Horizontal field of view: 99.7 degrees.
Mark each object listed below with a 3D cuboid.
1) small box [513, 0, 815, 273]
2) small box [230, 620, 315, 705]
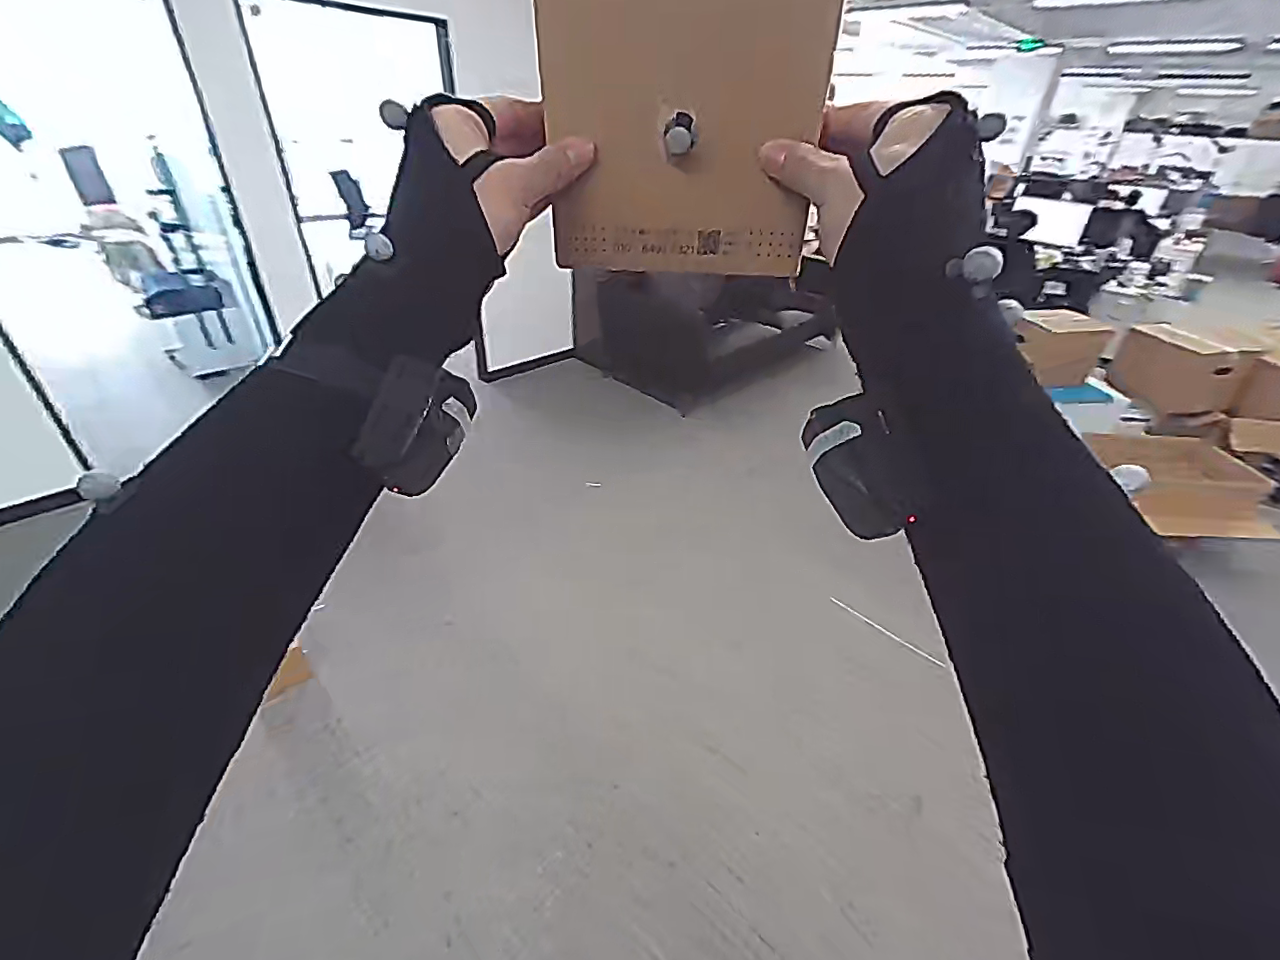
[{"bbox_3d":[0.025,-0.255,0.386,0.168,0.176,0.179,4,37,6],"label":"small box"},{"bbox_3d":[-1.240,0.620,1.832,0.179,0.176,0.168,-26,44,-38],"label":"small box"}]
